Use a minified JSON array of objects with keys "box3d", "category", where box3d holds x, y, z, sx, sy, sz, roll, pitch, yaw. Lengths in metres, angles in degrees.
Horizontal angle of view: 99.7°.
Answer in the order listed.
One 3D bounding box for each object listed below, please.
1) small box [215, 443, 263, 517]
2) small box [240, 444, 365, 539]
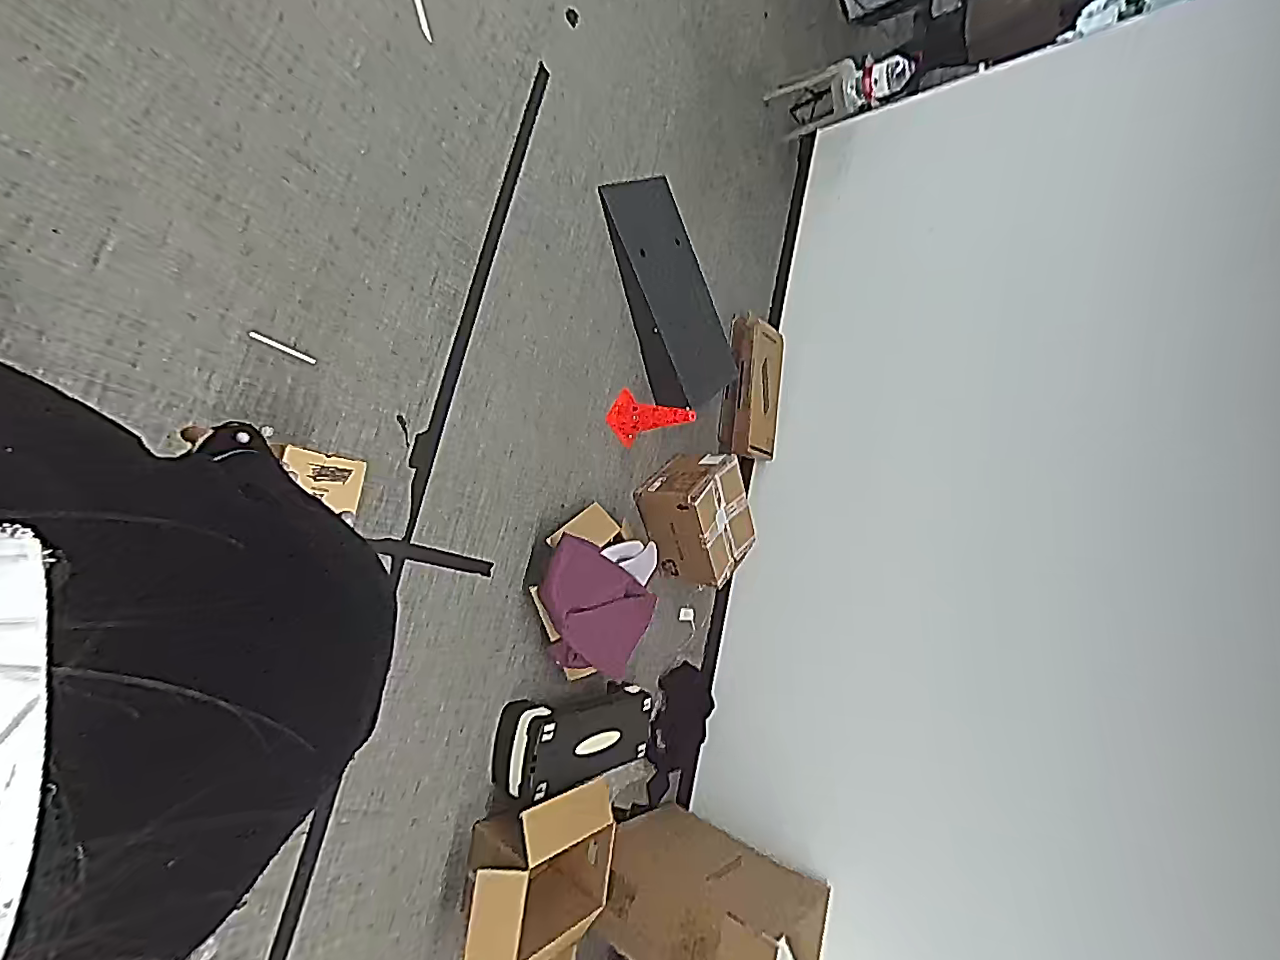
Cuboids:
[{"box3d":[-0.862,0.009,1.276,0.179,0.176,0.168,16,80,-49],"category":"small box"},{"box3d":[-0.733,0.024,1.174,0.168,0.176,0.179,19,79,-50],"category":"small box"}]
